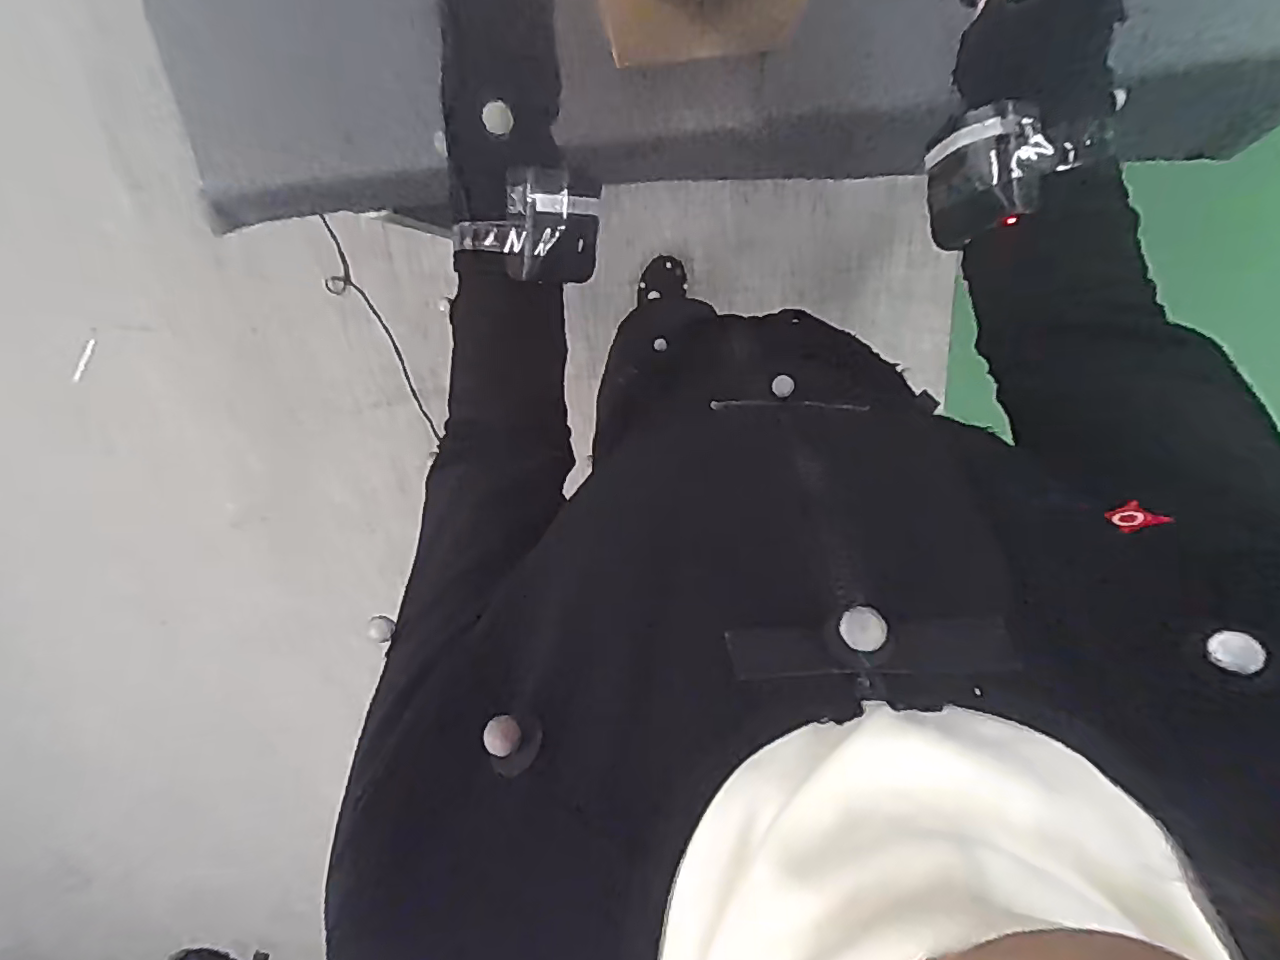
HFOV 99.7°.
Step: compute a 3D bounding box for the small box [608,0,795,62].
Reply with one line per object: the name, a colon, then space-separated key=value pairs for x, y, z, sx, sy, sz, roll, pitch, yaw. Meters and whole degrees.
small box: x=0.052 y=-0.496 z=0.468 sx=0.179 sy=0.176 sz=0.168 roll=-4 pitch=109 yaw=3
